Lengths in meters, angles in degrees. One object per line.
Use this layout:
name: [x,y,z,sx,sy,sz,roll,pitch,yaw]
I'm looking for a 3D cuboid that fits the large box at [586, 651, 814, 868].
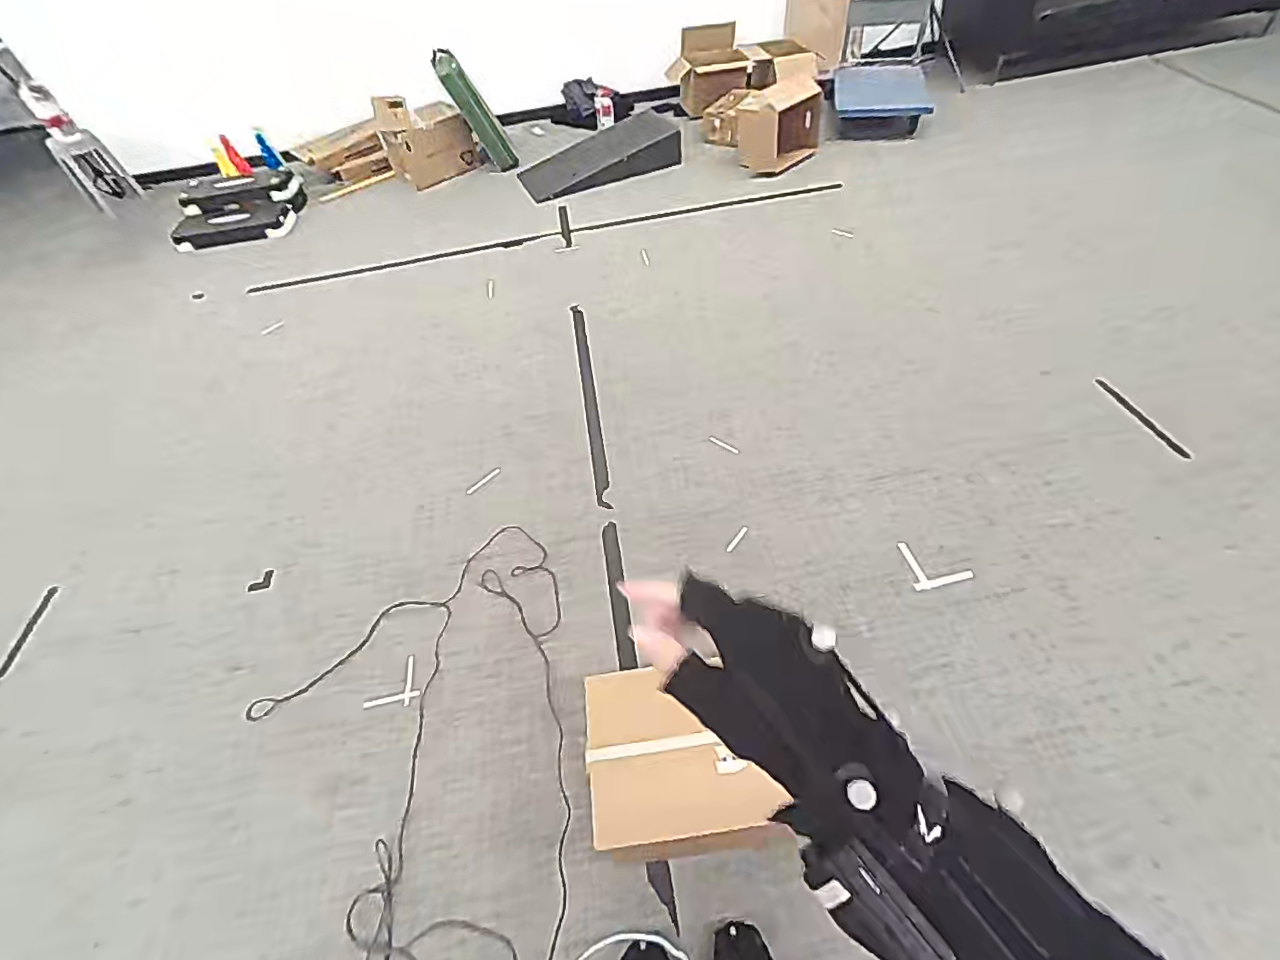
large box: [0.110,0.608,1.172,0.408,0.320,0.320,-8,50,-1]
